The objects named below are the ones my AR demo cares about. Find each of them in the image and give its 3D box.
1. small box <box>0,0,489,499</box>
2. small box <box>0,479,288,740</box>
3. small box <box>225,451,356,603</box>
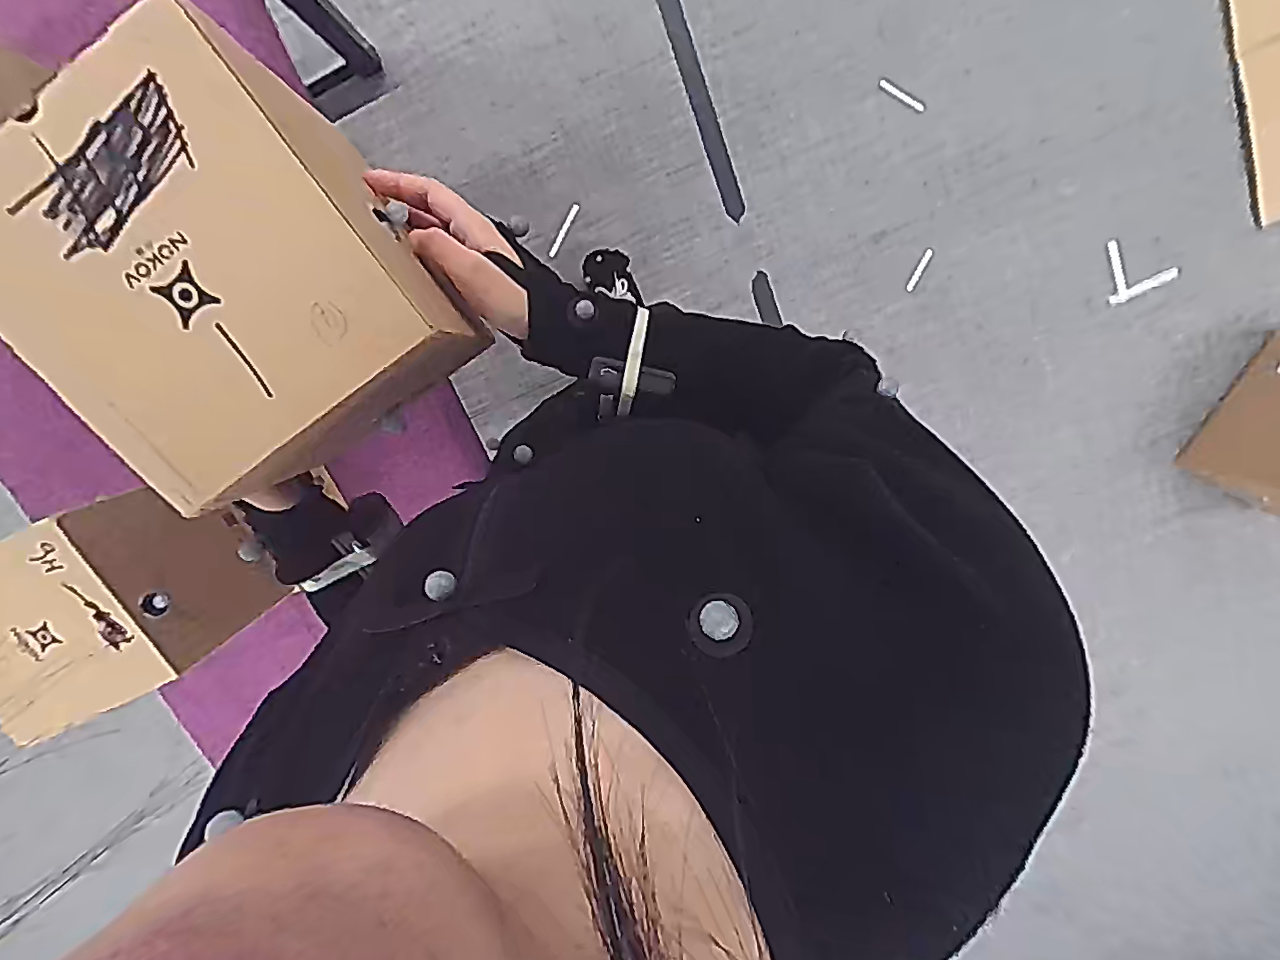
[{"bbox_3d":[-0.219,-0.118,0.326,0.168,0.176,0.179,-34,104,4],"label":"small box"},{"bbox_3d":[-0.505,0.107,0.531,0.179,0.176,0.168,-24,104,7],"label":"small box"},{"bbox_3d":[-0.499,0.063,0.689,0.179,0.176,0.168,-23,104,6],"label":"small box"}]
